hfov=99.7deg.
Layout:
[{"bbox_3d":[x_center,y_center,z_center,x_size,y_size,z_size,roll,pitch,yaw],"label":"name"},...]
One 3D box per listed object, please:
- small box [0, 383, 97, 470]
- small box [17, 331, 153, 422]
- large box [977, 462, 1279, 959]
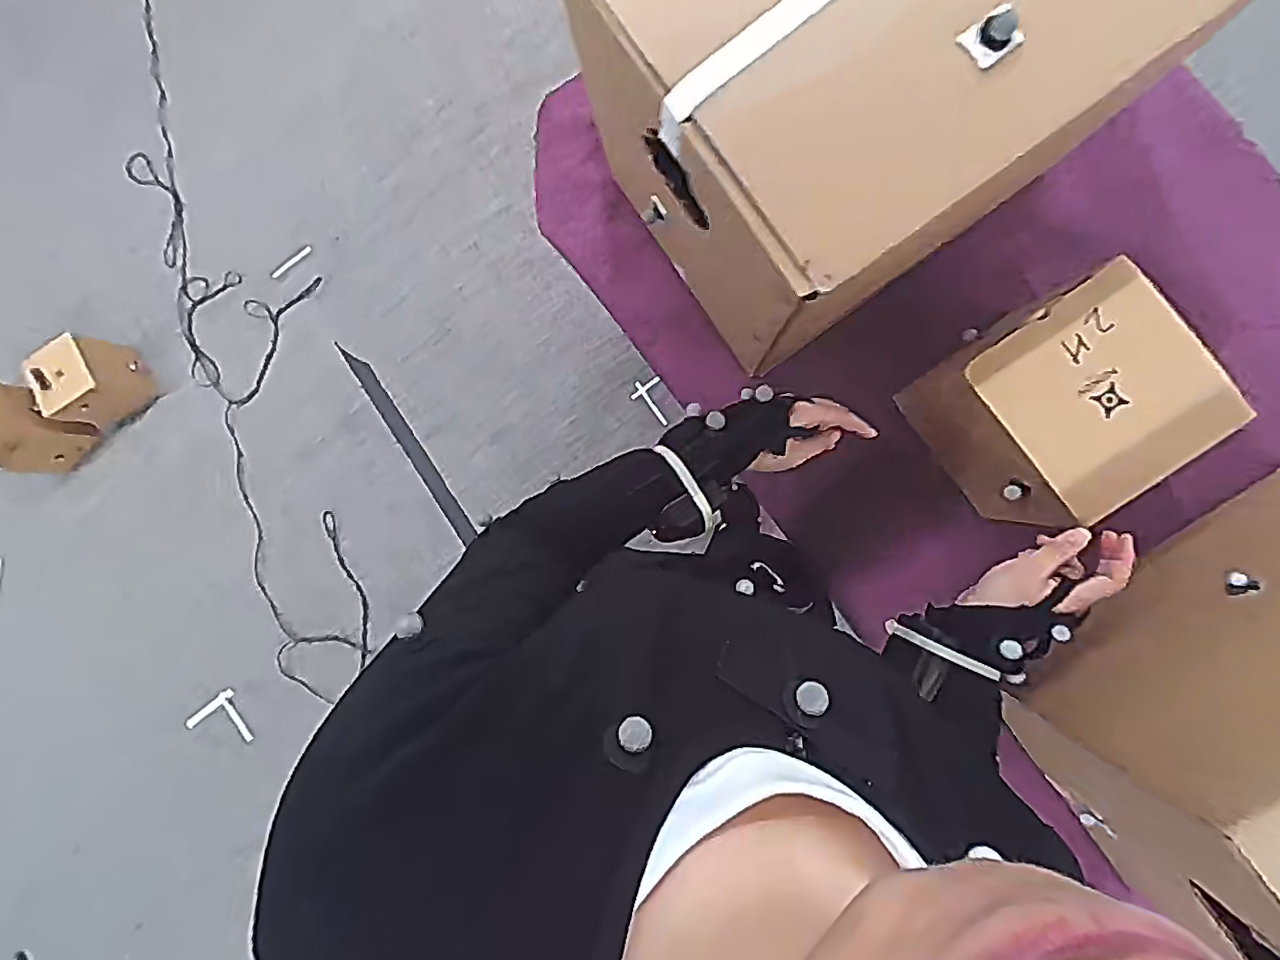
[{"bbox_3d":[-1.691,-0.139,1.497,0.168,0.176,0.179,-42,86,5],"label":"small box"},{"bbox_3d":[-1.500,-0.273,1.472,0.179,0.176,0.168,-29,87,5],"label":"small box"},{"bbox_3d":[0.604,0.210,0.440,0.408,0.320,0.320,-36,87,3],"label":"large box"}]
